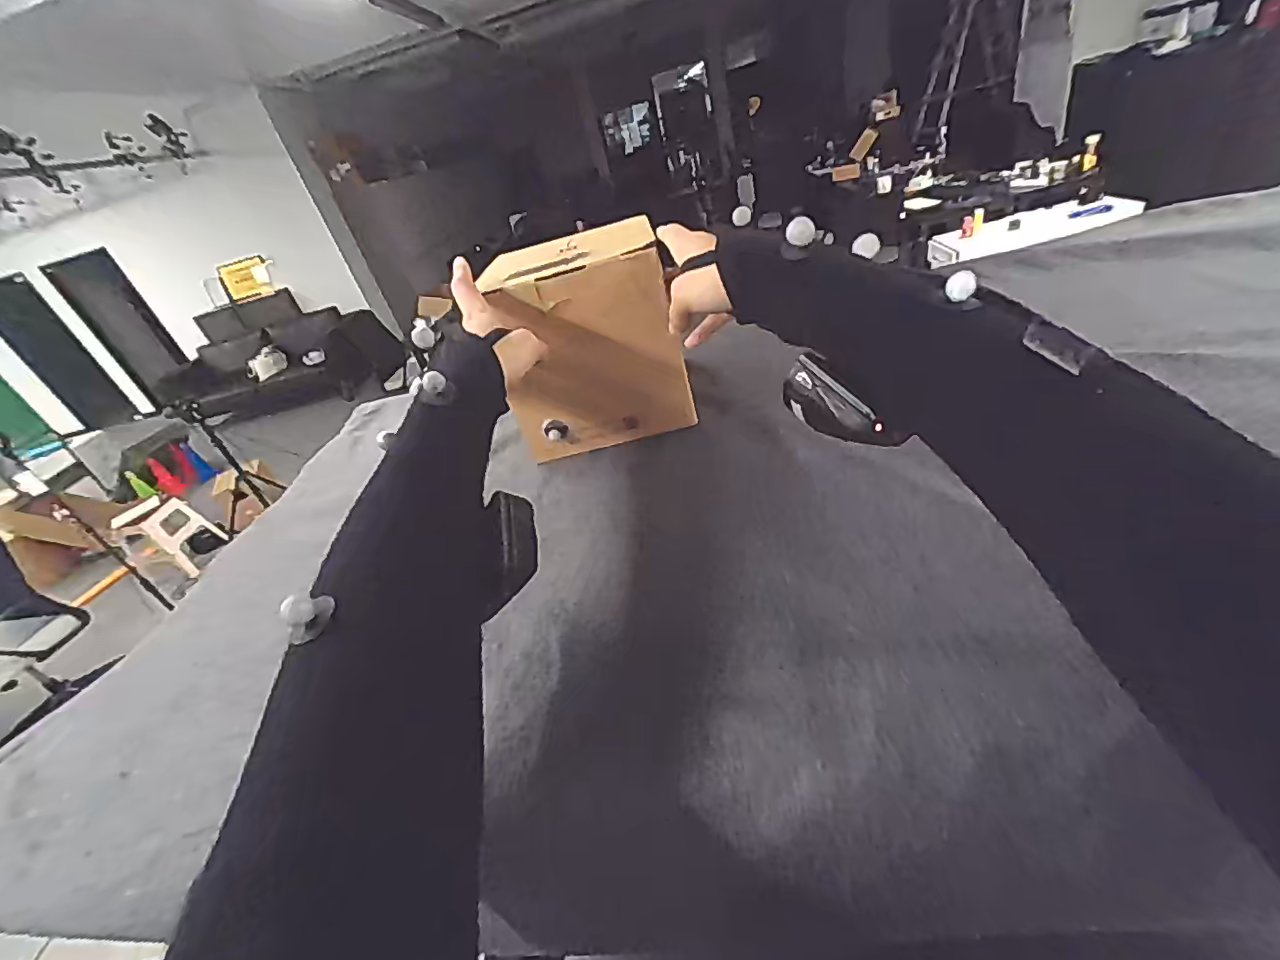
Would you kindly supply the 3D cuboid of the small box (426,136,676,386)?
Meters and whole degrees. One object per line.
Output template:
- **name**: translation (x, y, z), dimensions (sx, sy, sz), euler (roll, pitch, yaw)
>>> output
- **small box**: translation (-0.067, -0.201, 0.508), dimensions (0.168, 0.176, 0.179), euler (-13, 33, 5)
